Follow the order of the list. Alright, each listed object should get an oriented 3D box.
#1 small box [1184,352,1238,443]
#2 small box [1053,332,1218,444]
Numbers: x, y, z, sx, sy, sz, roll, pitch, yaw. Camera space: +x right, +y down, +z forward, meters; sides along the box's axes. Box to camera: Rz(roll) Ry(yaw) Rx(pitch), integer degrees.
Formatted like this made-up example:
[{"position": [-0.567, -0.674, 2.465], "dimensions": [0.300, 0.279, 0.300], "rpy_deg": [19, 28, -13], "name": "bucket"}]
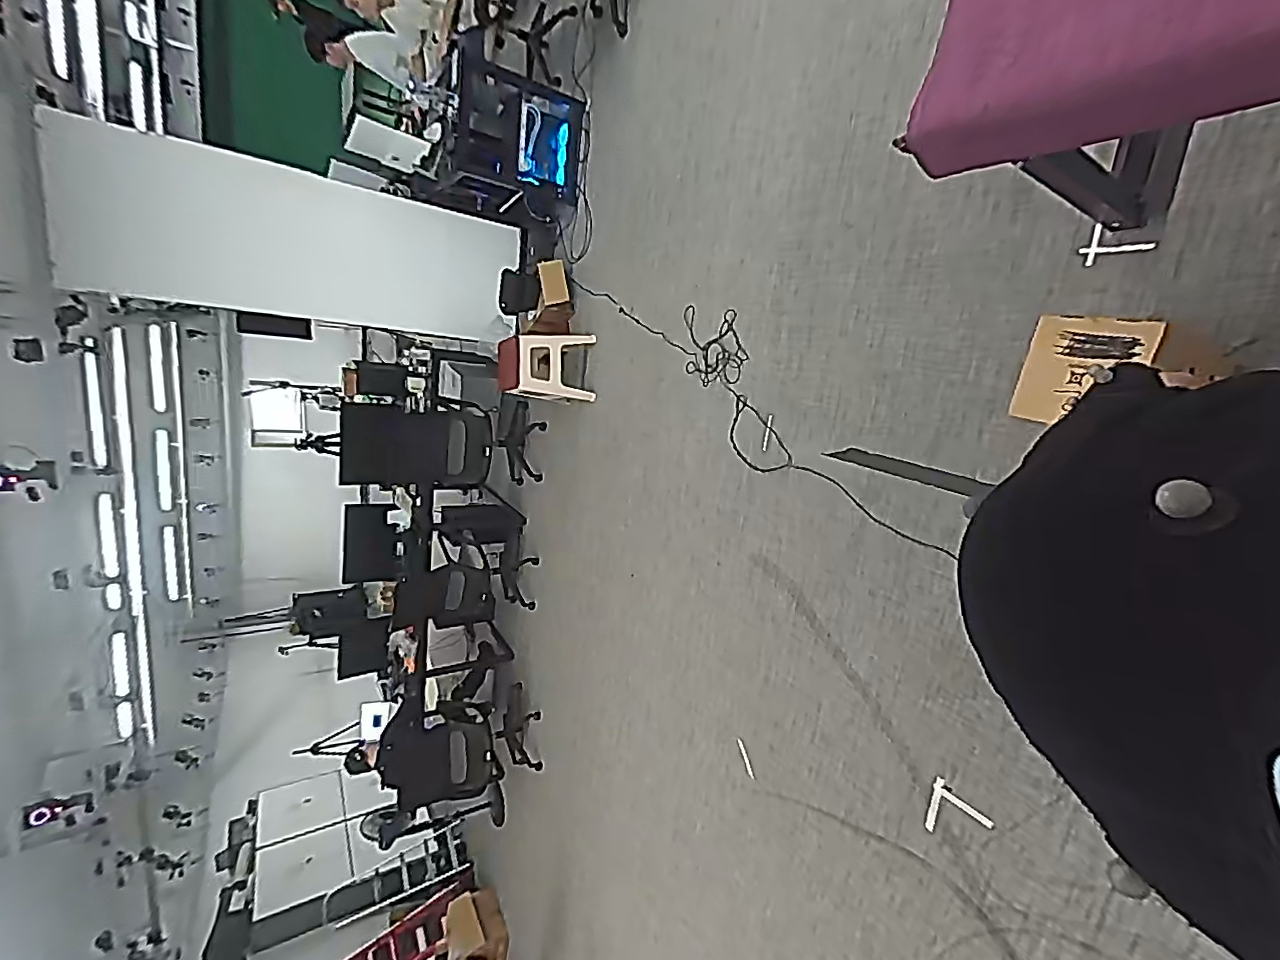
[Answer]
[{"position": [1.042, -0.177, 1.088], "dimensions": [0.168, 0.176, 0.179], "rpy_deg": [34, 119, 51], "name": "small box"}, {"position": [0.909, -0.168, 0.991], "dimensions": [0.168, 0.176, 0.179], "rpy_deg": [27, 114, 53], "name": "small box"}]
